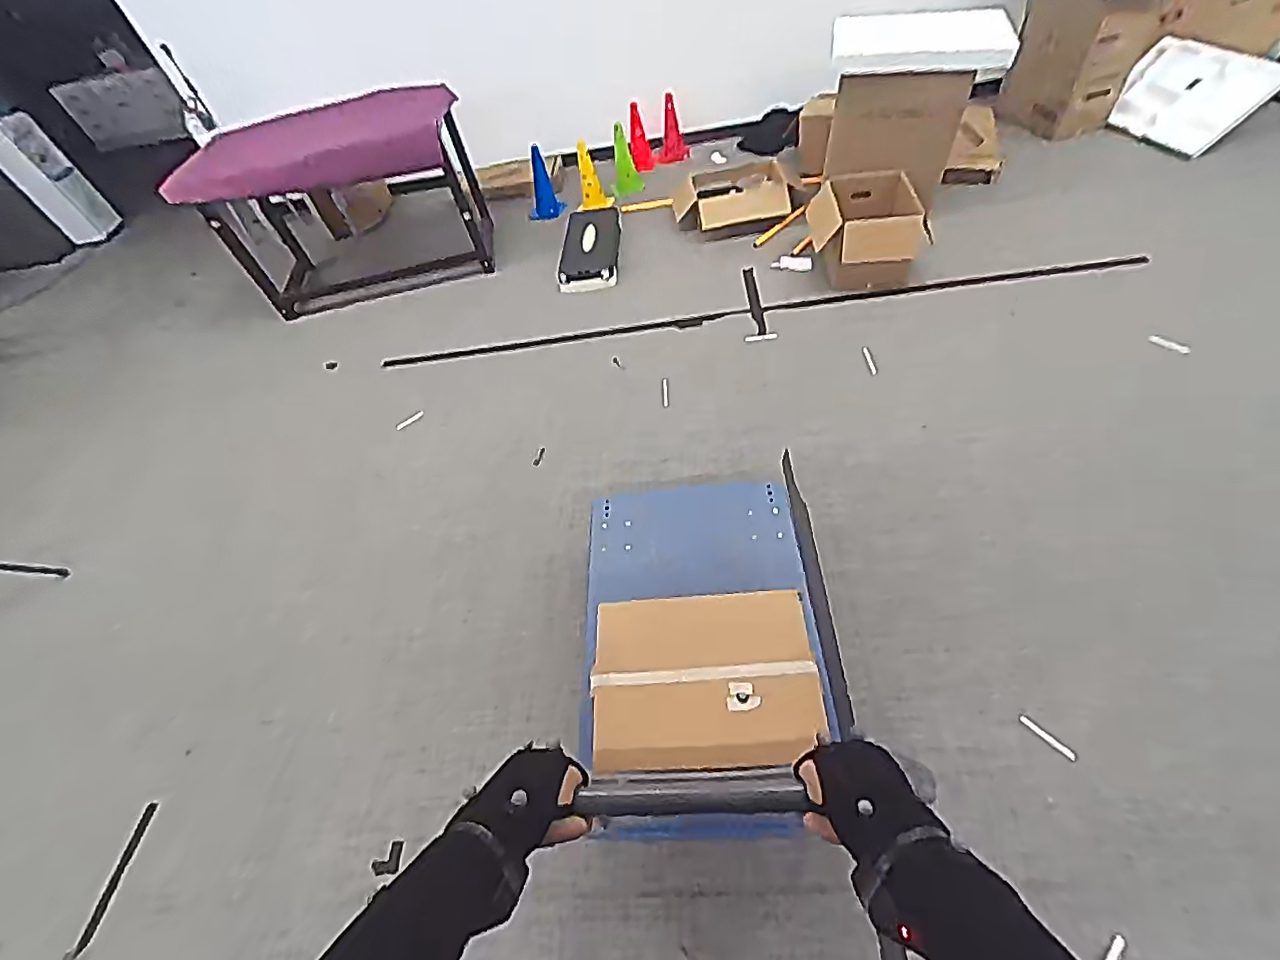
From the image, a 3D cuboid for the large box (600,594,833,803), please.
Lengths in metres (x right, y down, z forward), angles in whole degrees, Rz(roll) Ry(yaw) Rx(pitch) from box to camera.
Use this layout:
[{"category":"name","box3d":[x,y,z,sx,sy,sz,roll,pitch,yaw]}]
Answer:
[{"category":"large box","box3d":[0.138,0.460,1.120,0.408,0.320,0.320,-6,52,5]}]
